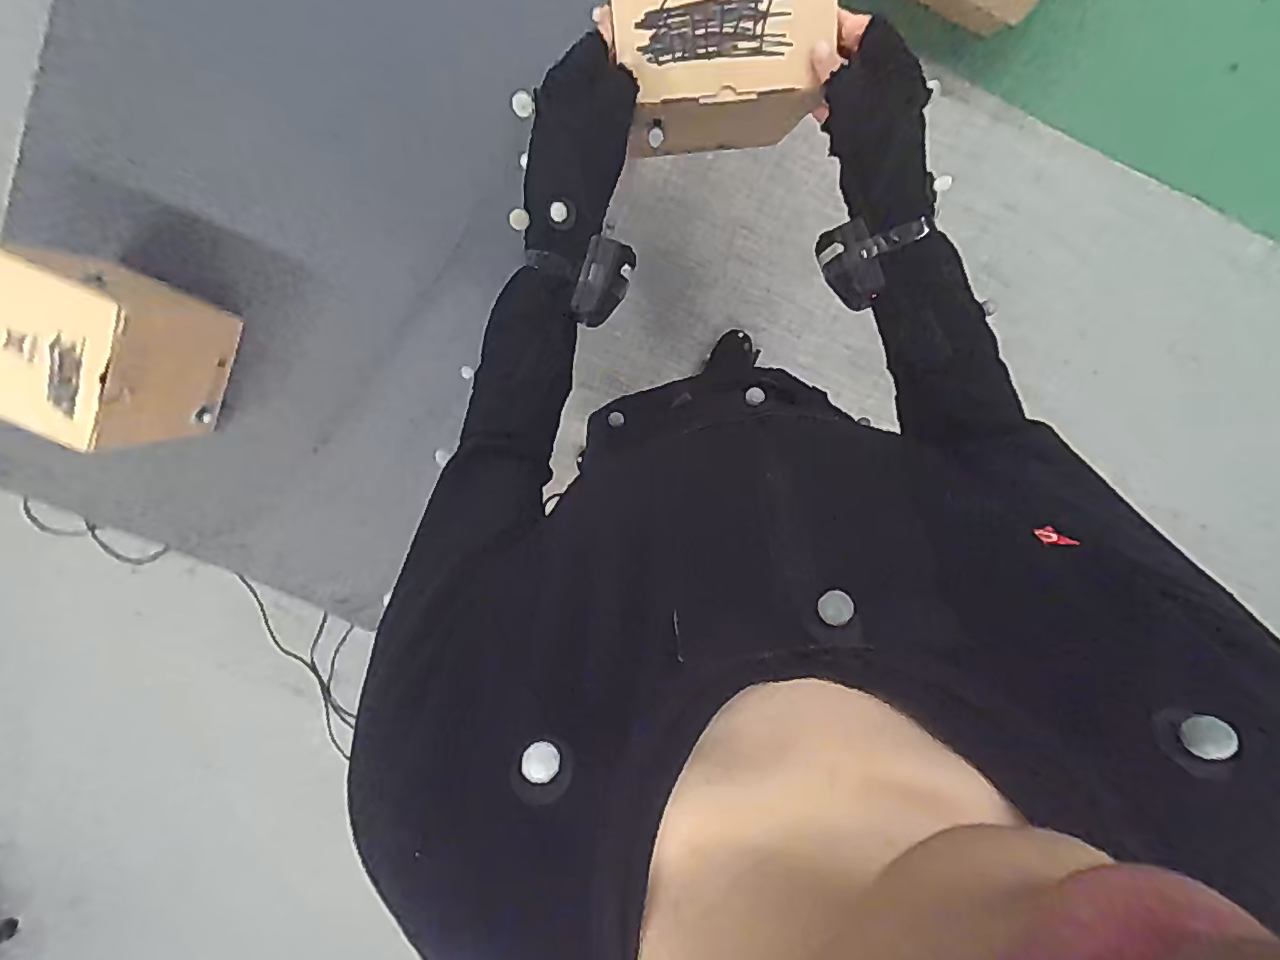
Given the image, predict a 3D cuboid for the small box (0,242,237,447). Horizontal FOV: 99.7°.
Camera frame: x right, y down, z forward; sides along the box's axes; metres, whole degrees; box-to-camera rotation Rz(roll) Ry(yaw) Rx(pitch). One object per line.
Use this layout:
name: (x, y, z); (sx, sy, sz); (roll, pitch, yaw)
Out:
small box: (-0.624, -0.157, 0.630); (0.179, 0.176, 0.168); (23, 101, -3)
